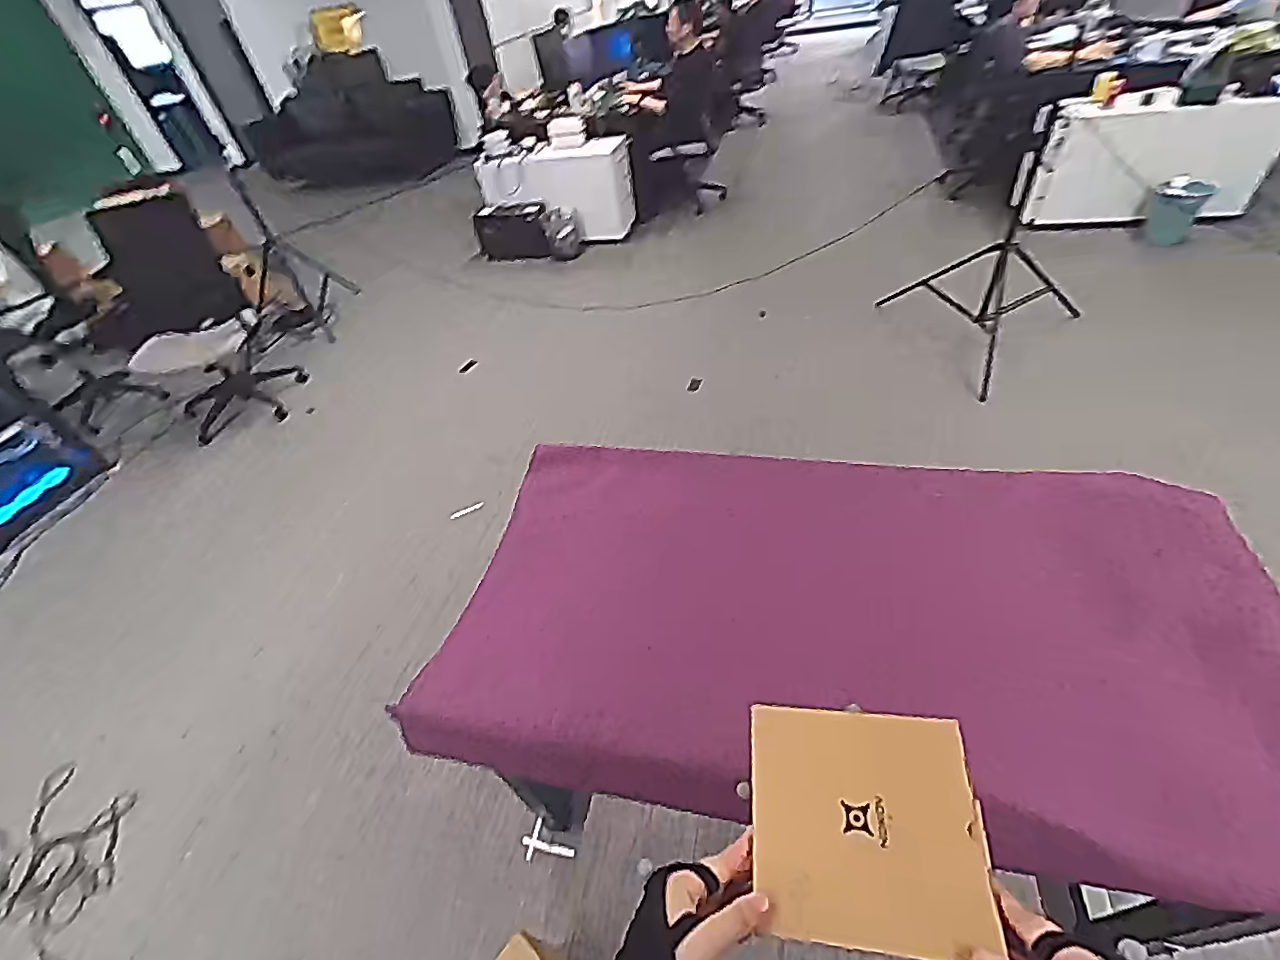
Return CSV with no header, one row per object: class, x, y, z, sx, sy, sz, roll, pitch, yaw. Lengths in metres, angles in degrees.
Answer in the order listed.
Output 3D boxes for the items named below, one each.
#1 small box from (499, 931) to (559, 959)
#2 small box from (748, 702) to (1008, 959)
small box,-0.193,0.923,0.916,0.168,0.176,0.179,28,57,33
small box,0.190,0.317,0.493,0.179,0.176,0.168,0,52,11
